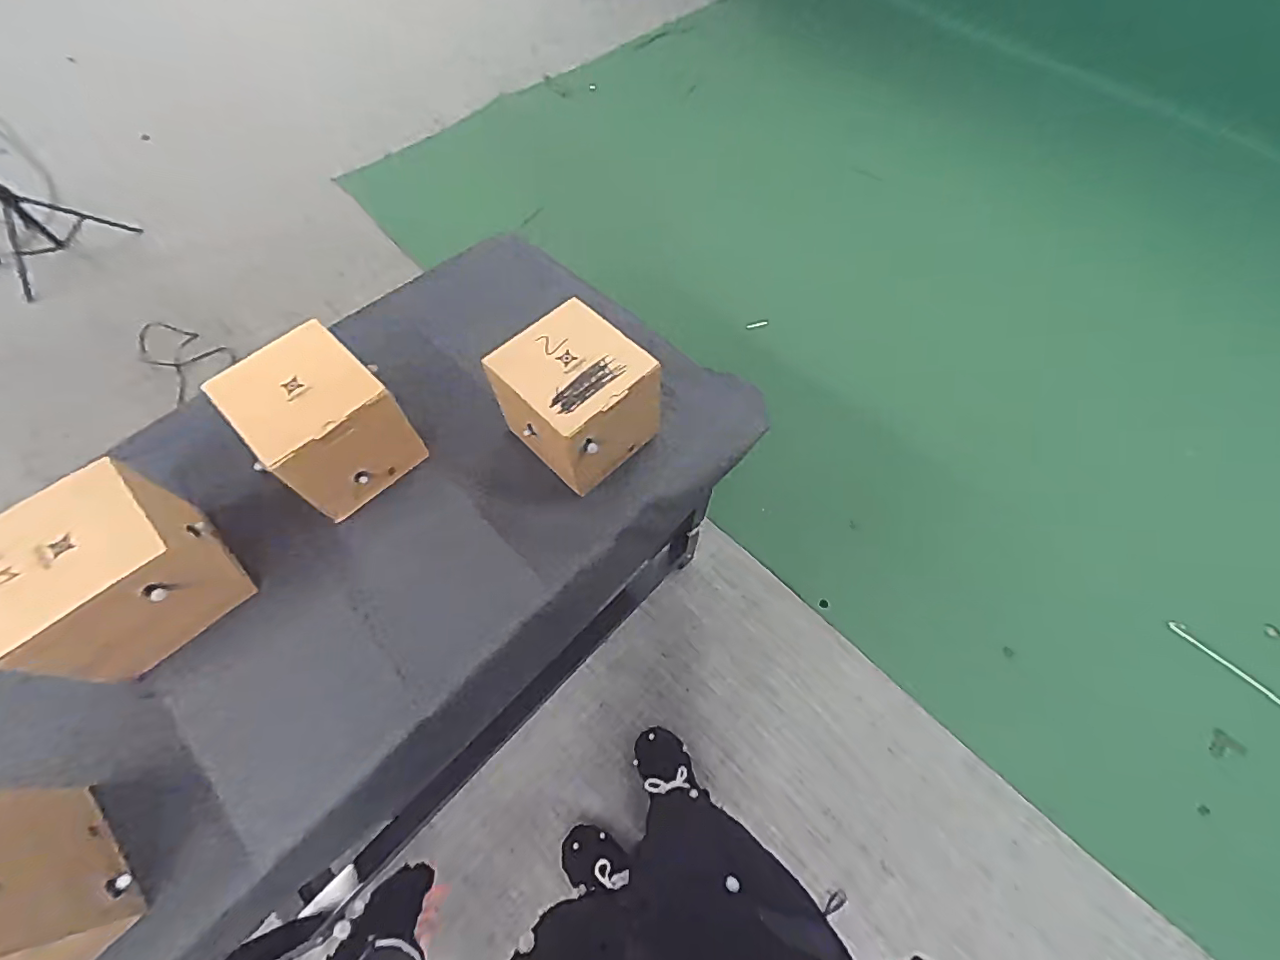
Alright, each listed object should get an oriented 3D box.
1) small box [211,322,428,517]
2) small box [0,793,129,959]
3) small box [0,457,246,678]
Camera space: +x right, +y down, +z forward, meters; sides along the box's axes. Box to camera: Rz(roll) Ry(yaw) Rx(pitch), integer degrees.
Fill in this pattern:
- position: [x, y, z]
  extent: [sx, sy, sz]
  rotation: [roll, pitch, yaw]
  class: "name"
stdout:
- position: [-0.436, -0.079, 0.763]
  extent: [0.179, 0.176, 0.168]
  rotation: [41, 69, 17]
  class: "small box"
- position: [-0.633, 0.417, 0.495]
  extent: [0.168, 0.176, 0.179]
  rotation: [41, 69, 19]
  class: "small box"
- position: [-0.626, 0.111, 0.655]
  extent: [0.179, 0.176, 0.168]
  rotation: [-40, 71, -20]
  class: "small box"
